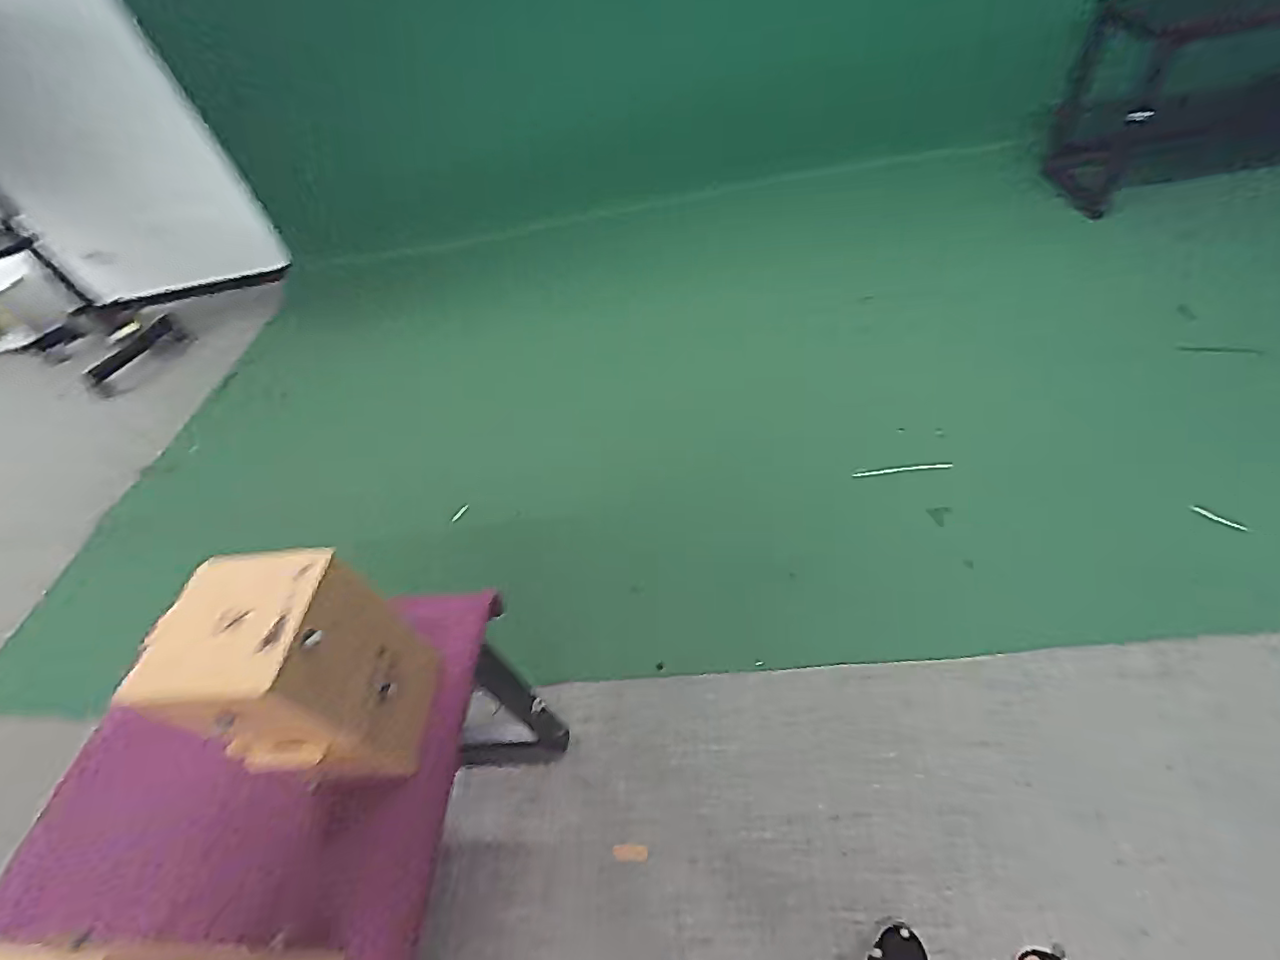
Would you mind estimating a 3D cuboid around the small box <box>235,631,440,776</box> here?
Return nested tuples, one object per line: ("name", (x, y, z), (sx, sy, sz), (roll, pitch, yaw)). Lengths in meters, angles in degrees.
("small box", (-0.411, 0.312, 0.773), (0.168, 0.176, 0.179), (-7, 49, 7))

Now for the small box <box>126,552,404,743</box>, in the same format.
("small box", (-0.423, 0.206, 0.647), (0.179, 0.176, 0.168), (-6, 50, 9))

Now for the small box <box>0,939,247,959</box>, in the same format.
("small box", (-0.468, 0.477, 0.426), (0.179, 0.176, 0.168), (-4, 49, 11))

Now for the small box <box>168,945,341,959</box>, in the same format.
("small box", (-0.442, 0.588, 0.545), (0.168, 0.176, 0.179), (-6, 48, 9))
